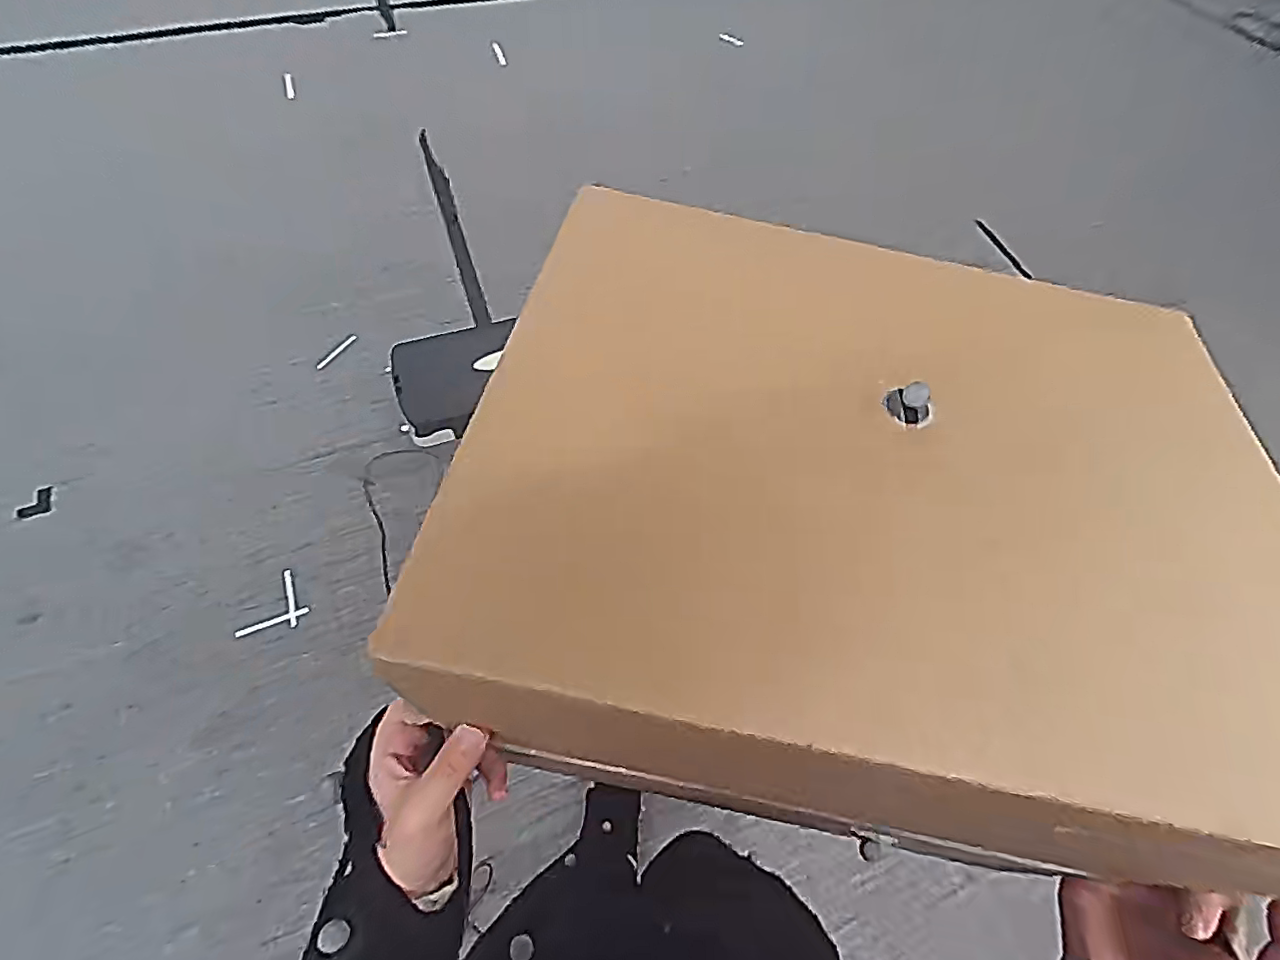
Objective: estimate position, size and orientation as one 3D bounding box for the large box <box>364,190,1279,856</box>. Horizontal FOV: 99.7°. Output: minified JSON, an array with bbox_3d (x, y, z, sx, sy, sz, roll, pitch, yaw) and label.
[{"bbox_3d":[0.105,0.044,0.390,0.408,0.320,0.320,10,58,0],"label":"large box"}]
